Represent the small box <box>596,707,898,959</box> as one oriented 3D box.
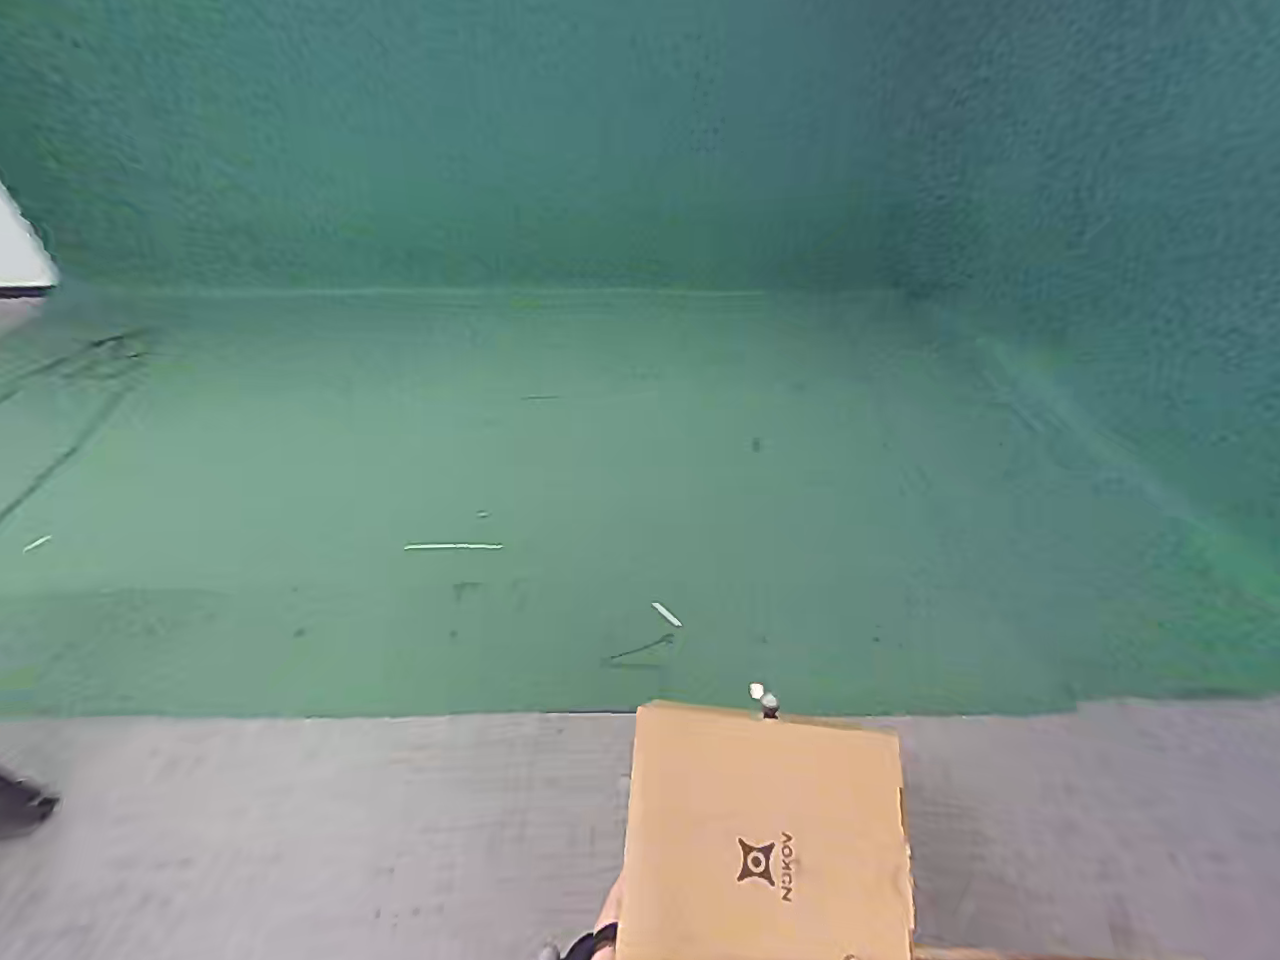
[{"bbox_3d":[0.071,0.267,0.406,0.179,0.176,0.168,3,68,5],"label":"small box"}]
